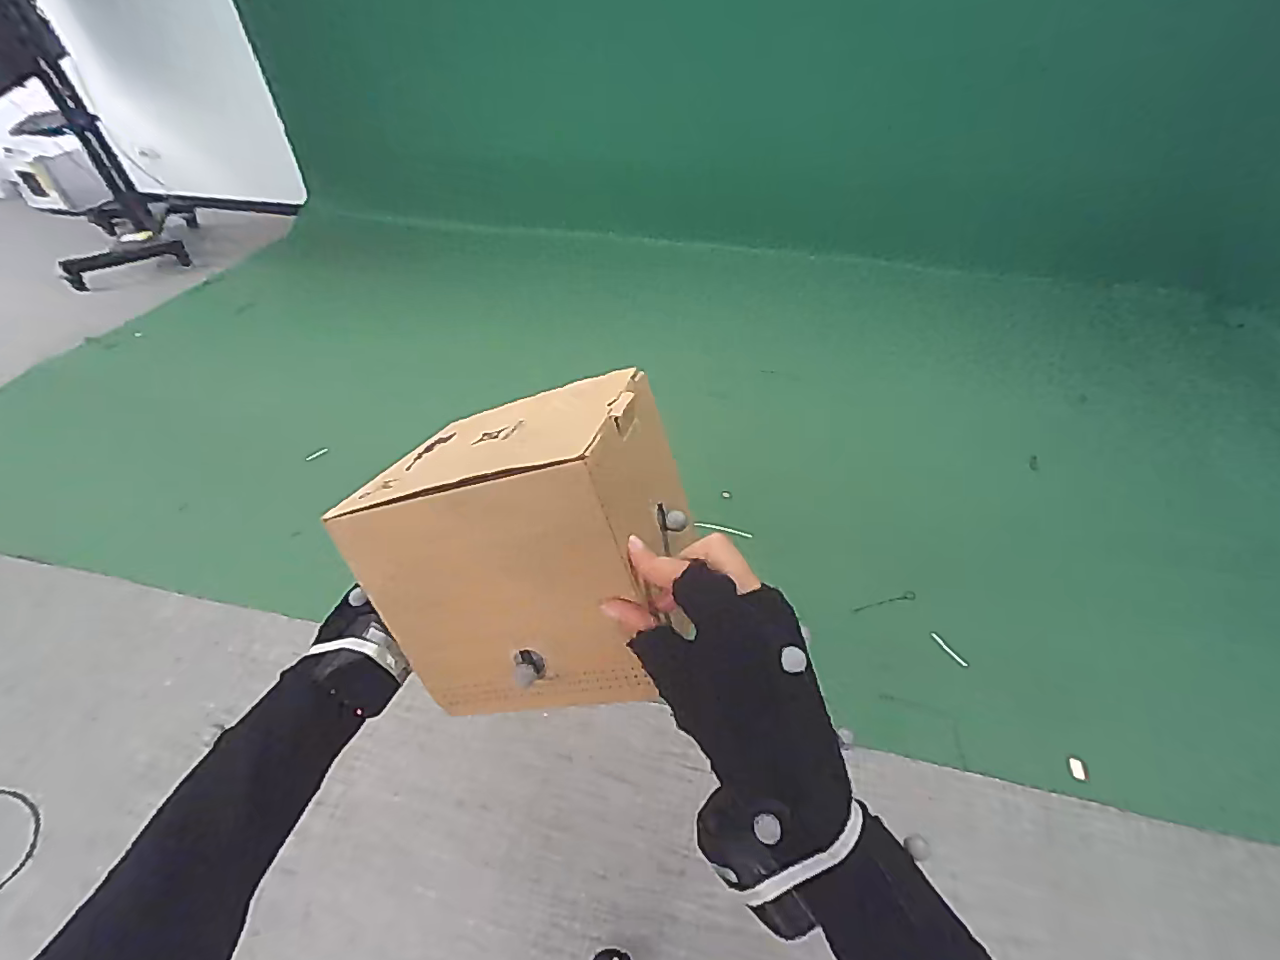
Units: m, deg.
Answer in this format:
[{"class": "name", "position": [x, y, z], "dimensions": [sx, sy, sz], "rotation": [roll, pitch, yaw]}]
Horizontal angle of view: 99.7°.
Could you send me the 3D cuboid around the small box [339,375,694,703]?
[{"class": "small box", "position": [-0.066, 0.042, 0.405], "dimensions": [0.179, 0.176, 0.168], "rotation": [-12, 23, 17]}]
